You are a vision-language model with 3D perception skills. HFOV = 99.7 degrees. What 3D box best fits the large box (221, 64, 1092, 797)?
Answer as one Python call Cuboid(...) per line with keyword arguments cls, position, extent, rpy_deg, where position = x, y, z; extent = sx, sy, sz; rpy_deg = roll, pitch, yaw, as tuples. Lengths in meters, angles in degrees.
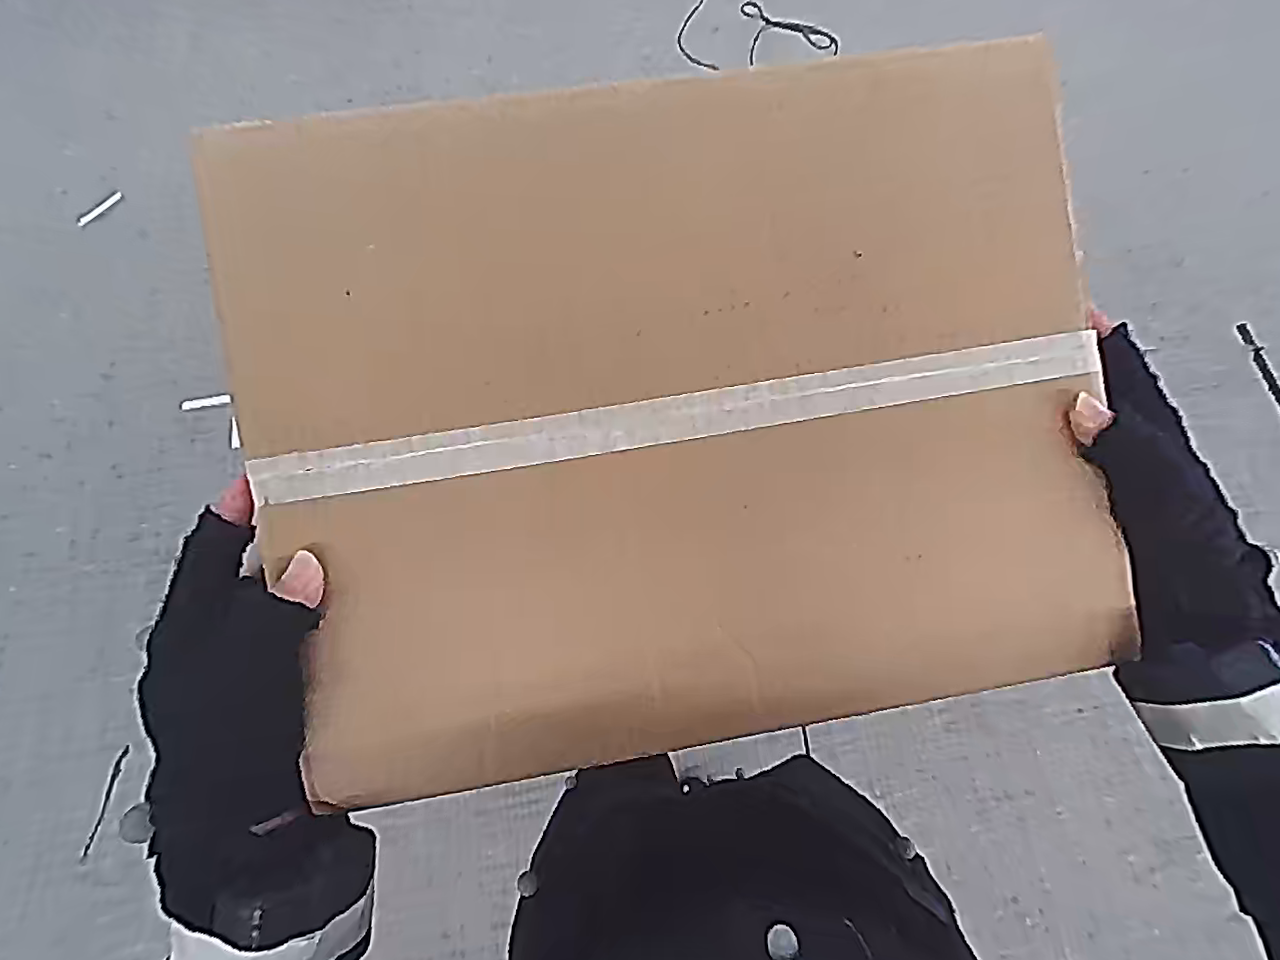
Cuboid(cls="large box", position=(0.014, -0.034, 0.416), extent=(0.408, 0.320, 0.320), rpy_deg=(-9, 91, -4))
